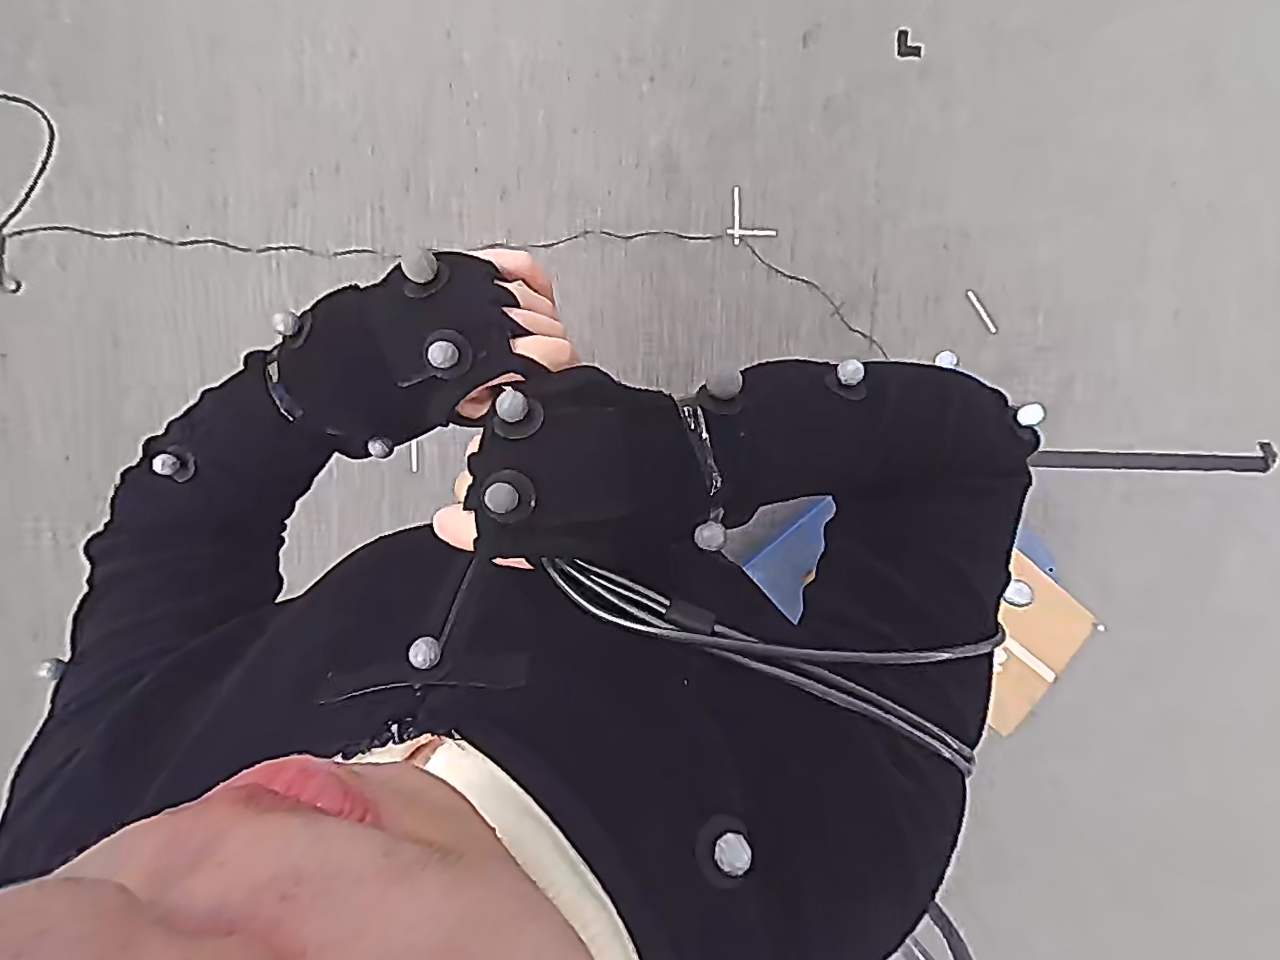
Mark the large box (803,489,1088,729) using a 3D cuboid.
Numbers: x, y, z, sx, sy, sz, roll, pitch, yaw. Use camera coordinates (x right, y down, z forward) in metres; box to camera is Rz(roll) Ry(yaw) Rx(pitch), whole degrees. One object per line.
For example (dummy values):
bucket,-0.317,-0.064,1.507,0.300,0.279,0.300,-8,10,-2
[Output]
large box,0.662,0.265,1.238,0.408,0.320,0.320,39,91,-6
